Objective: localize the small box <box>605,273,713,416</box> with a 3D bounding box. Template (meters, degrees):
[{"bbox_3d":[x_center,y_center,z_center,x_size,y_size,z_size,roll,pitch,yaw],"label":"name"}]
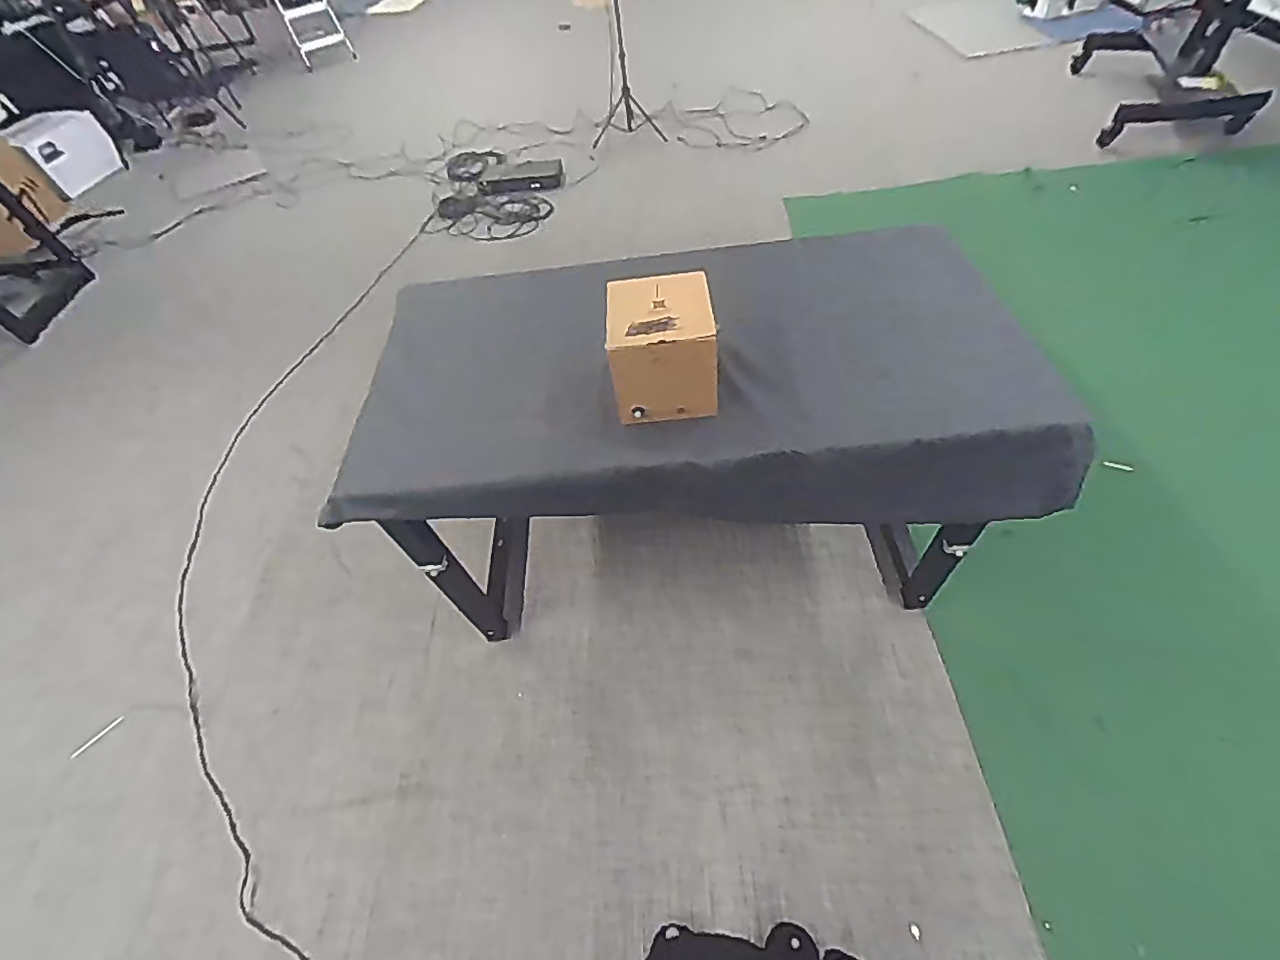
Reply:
[{"bbox_3d":[0.036,-0.222,0.919,0.168,0.176,0.179,-5,52,3],"label":"small box"}]
